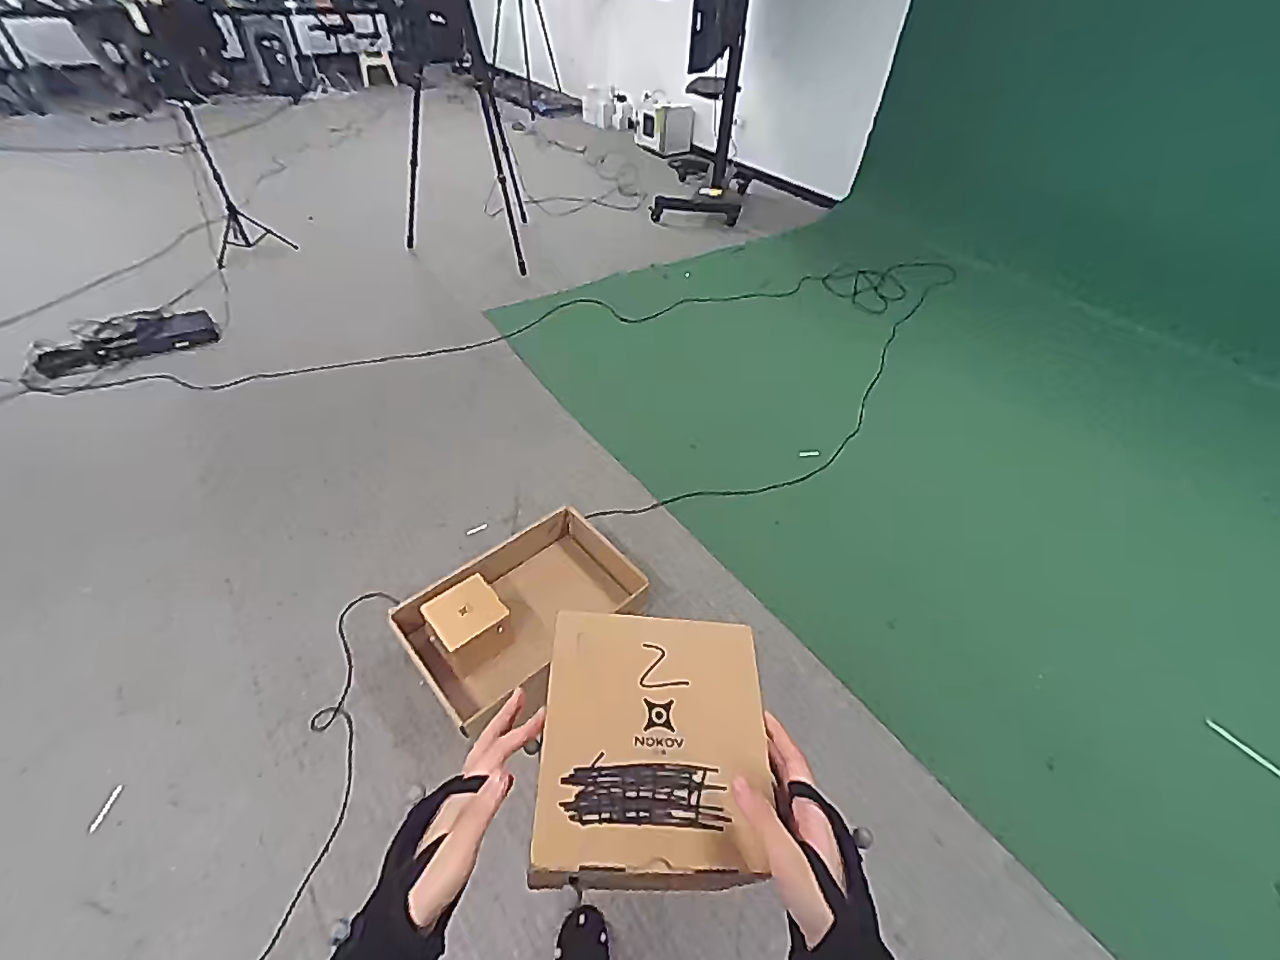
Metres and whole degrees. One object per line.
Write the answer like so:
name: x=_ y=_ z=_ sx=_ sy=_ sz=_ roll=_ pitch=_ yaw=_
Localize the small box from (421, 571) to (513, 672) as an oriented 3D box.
small box: x=-0.469 y=0.392 z=1.486 sx=0.179 sy=0.176 sz=0.168 roll=-31 pitch=57 yaw=-30
